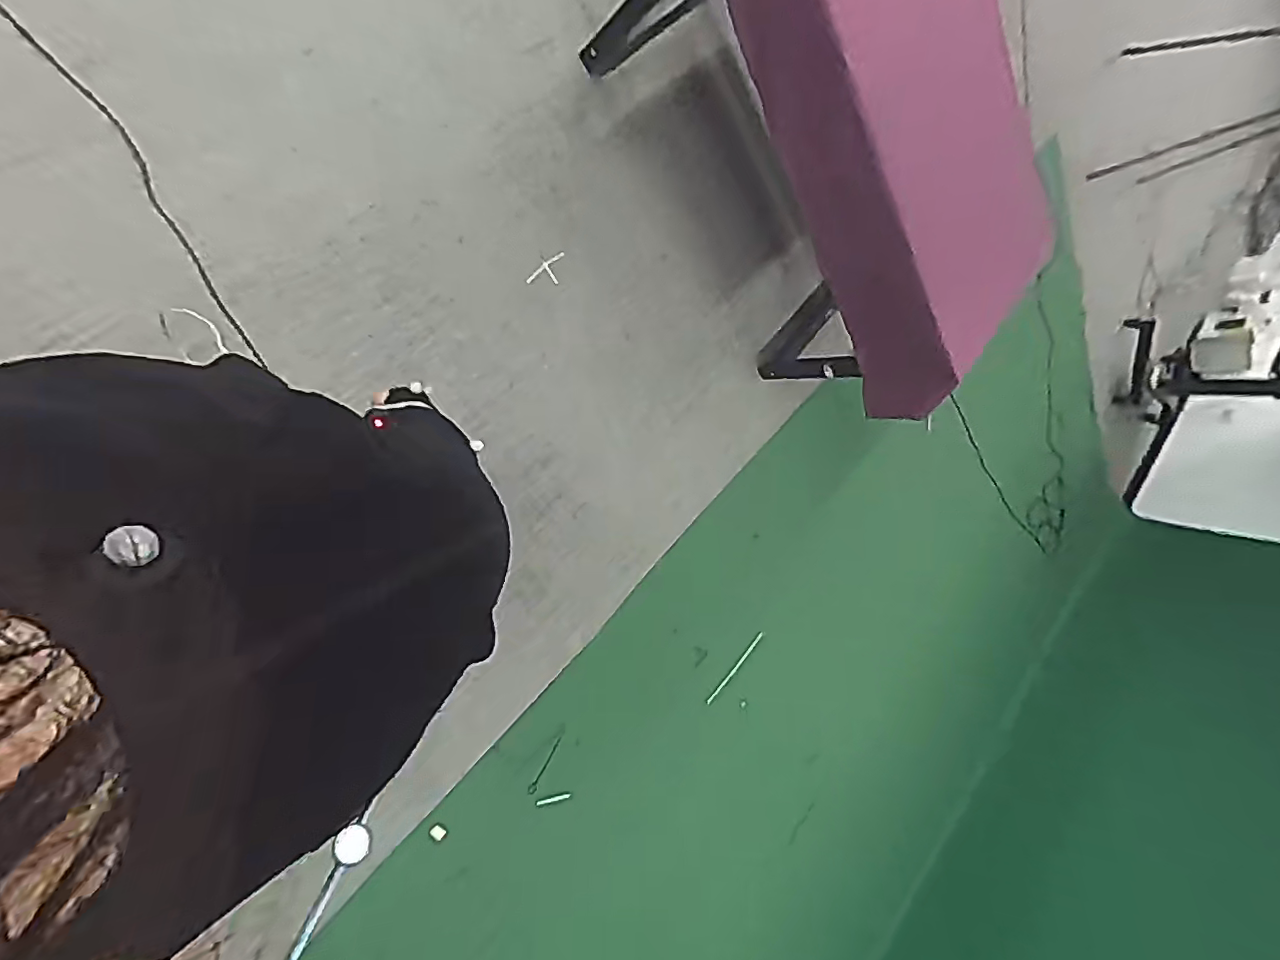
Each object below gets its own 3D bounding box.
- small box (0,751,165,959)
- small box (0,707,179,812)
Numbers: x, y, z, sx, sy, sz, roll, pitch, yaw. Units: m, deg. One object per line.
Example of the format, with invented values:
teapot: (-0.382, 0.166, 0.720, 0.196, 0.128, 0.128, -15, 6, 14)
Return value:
small box: (-0.870, 0.556, 0.806, 0.179, 0.176, 0.168, -37, 117, -21)
small box: (-0.958, 0.539, 0.946, 0.179, 0.176, 0.168, -39, 117, -20)
